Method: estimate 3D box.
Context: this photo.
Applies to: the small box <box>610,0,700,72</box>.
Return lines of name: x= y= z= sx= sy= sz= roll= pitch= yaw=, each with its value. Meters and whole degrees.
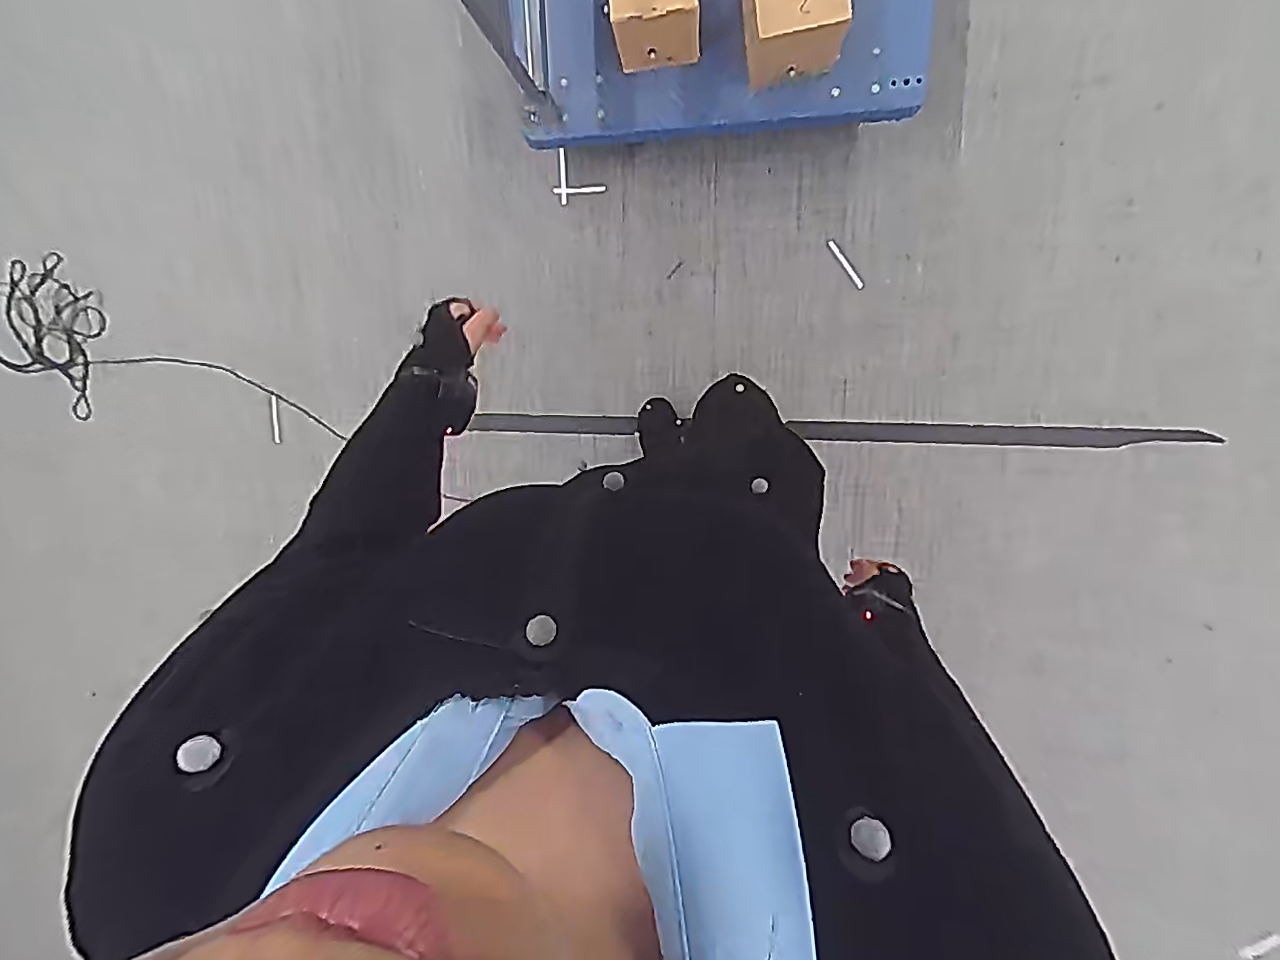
small box: x=0.029 y=-0.953 z=1.061 sx=0.168 sy=0.176 sz=0.179 roll=-4 pitch=99 yaw=6
